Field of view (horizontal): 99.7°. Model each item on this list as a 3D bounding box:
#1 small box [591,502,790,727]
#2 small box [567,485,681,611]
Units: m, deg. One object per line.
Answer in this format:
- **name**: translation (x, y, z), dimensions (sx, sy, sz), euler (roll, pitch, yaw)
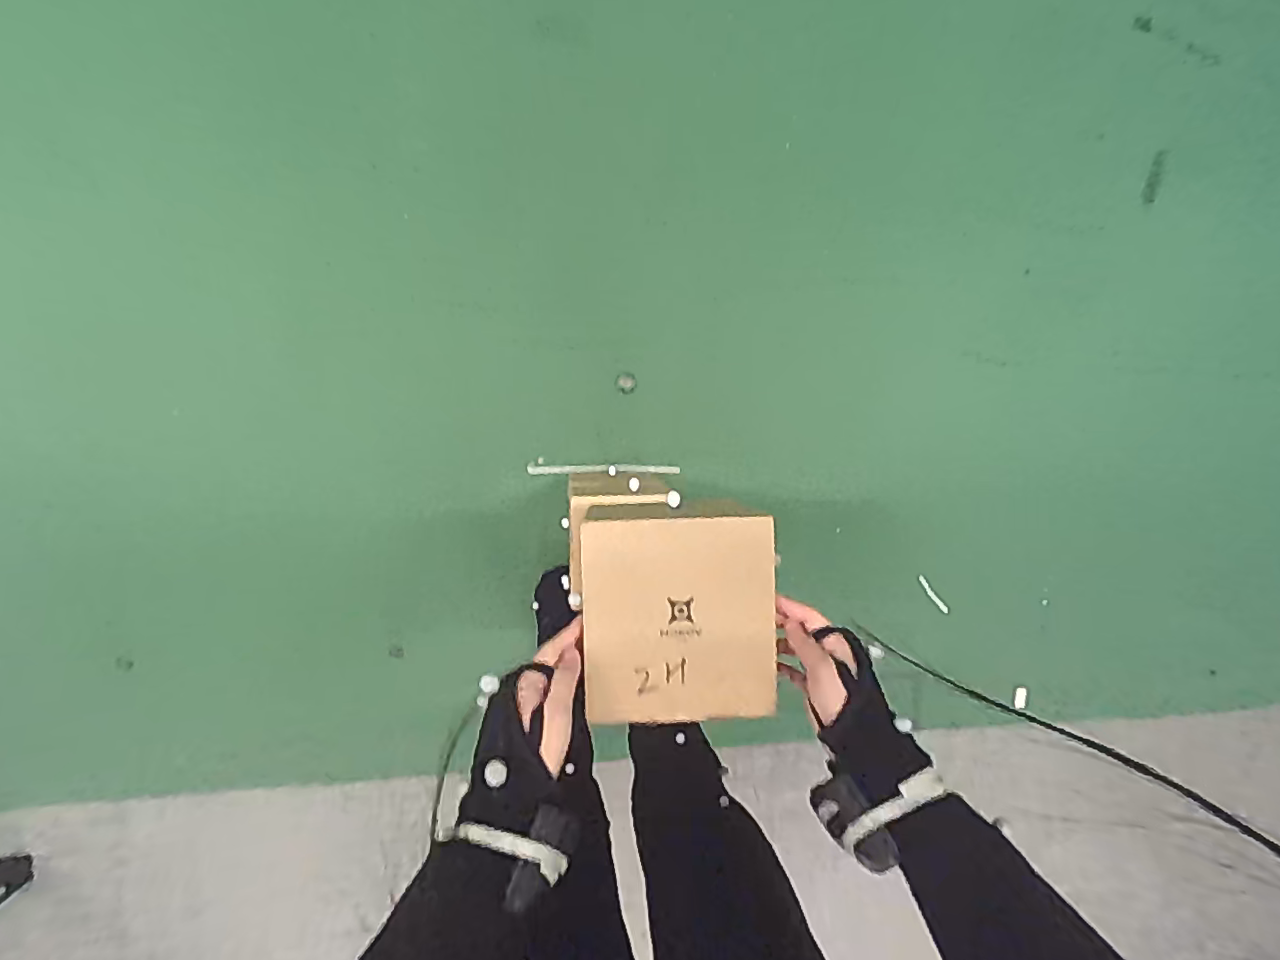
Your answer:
- **small box**: translation (0.038, 0.112, 0.520), dimensions (0.168, 0.176, 0.179), euler (-1, 92, -1)
- **small box**: translation (-0.033, 0.102, 0.884), dimensions (0.168, 0.176, 0.179), euler (0, 96, -9)
